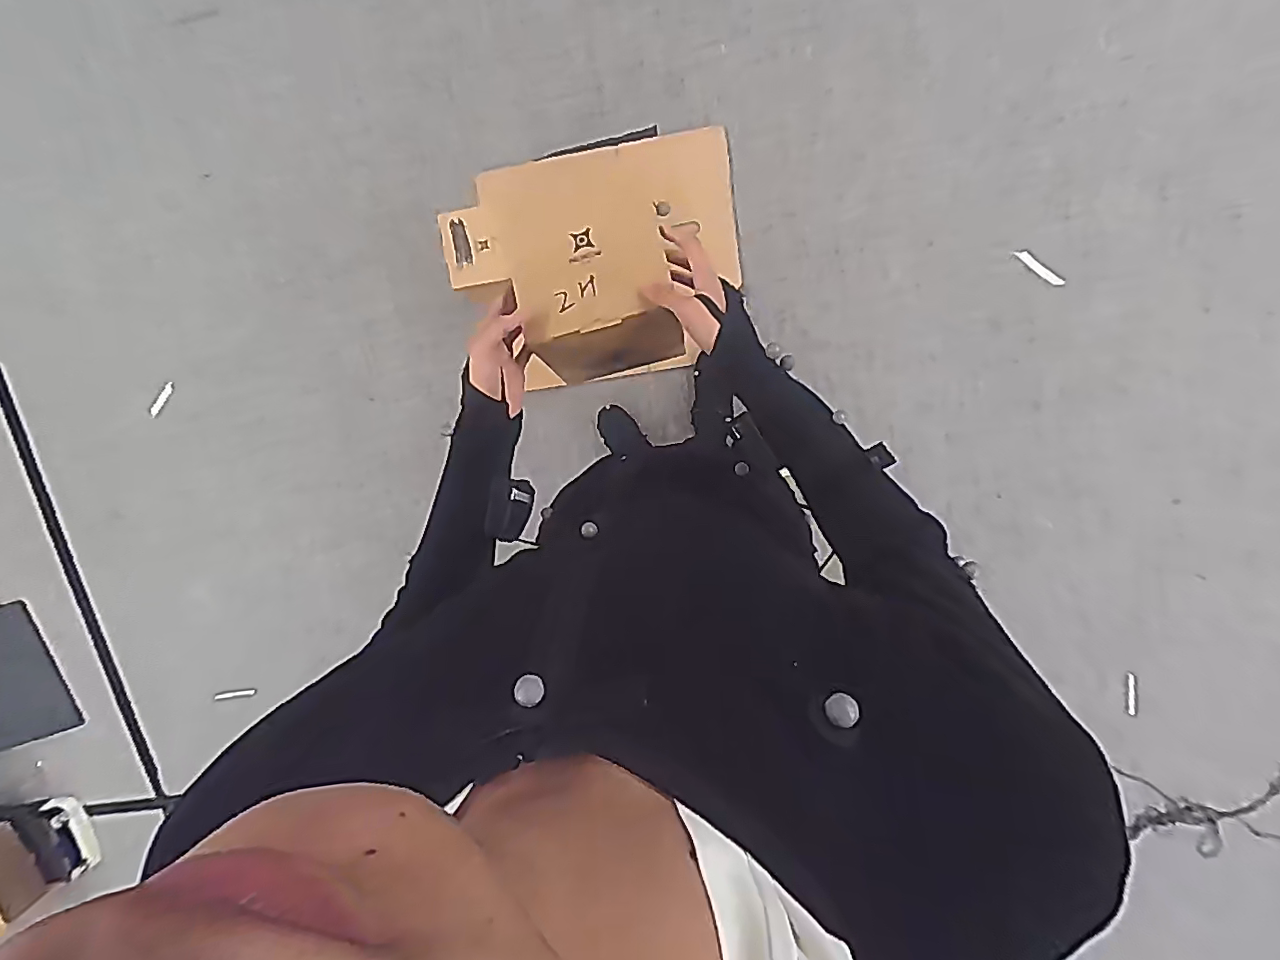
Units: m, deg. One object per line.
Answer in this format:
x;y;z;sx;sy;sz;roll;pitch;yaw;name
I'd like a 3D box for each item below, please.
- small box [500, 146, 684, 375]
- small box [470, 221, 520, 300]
-0.047;-0.246;0.647;0.168;0.176;0.179;-13;84;7;small box
-0.330;-0.588;1.452;0.179;0.176;0.168;-8;101;6;small box
